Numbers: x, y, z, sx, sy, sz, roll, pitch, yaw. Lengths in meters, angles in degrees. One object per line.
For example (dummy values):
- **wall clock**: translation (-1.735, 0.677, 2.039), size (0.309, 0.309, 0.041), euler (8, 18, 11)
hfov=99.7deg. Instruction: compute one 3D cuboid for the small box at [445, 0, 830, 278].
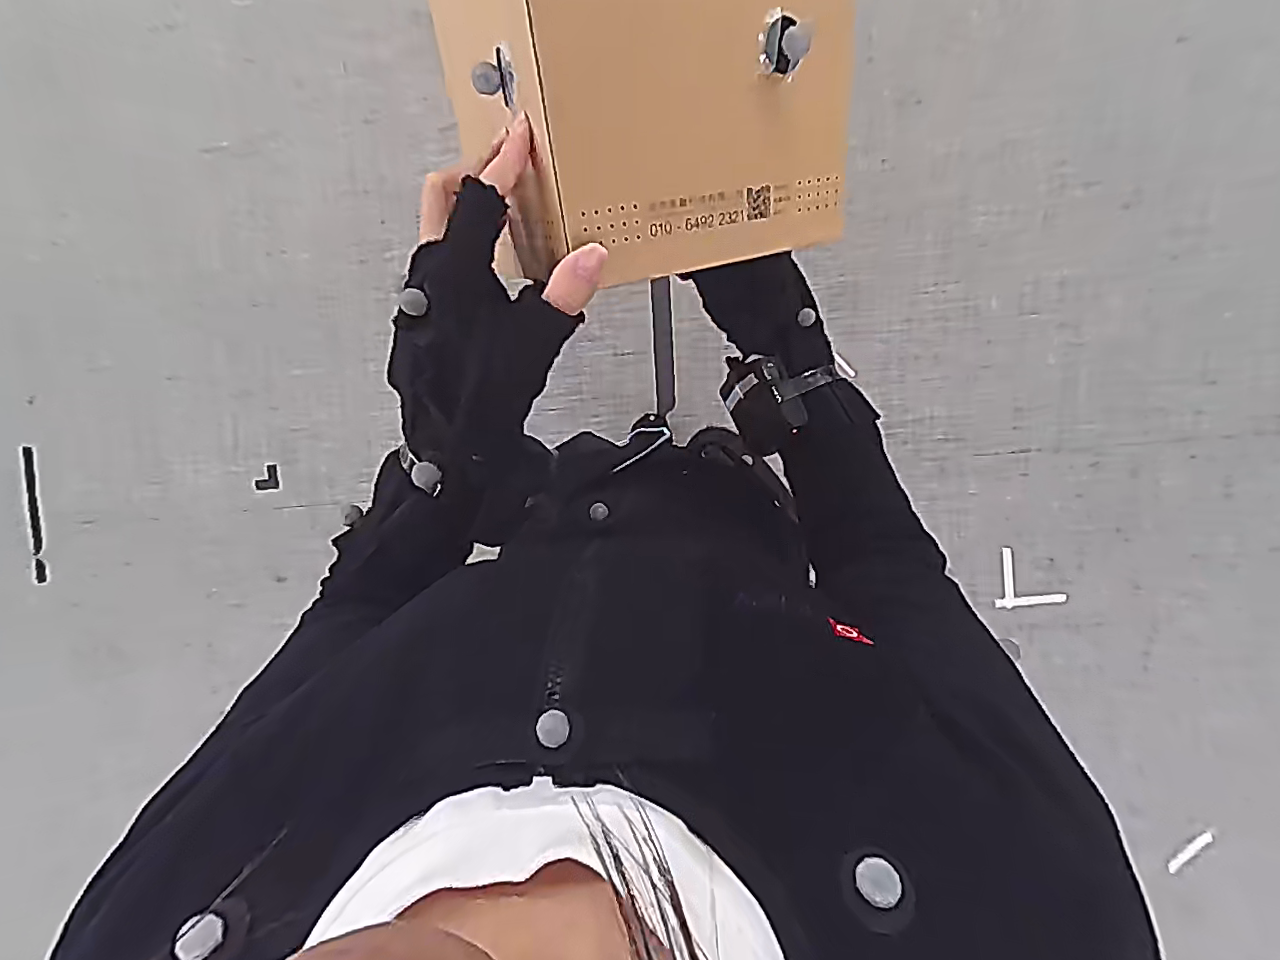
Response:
- **small box**: translation (-0.003, -0.223, 0.322), size (0.168, 0.179, 0.176), euler (-18, 120, -20)
